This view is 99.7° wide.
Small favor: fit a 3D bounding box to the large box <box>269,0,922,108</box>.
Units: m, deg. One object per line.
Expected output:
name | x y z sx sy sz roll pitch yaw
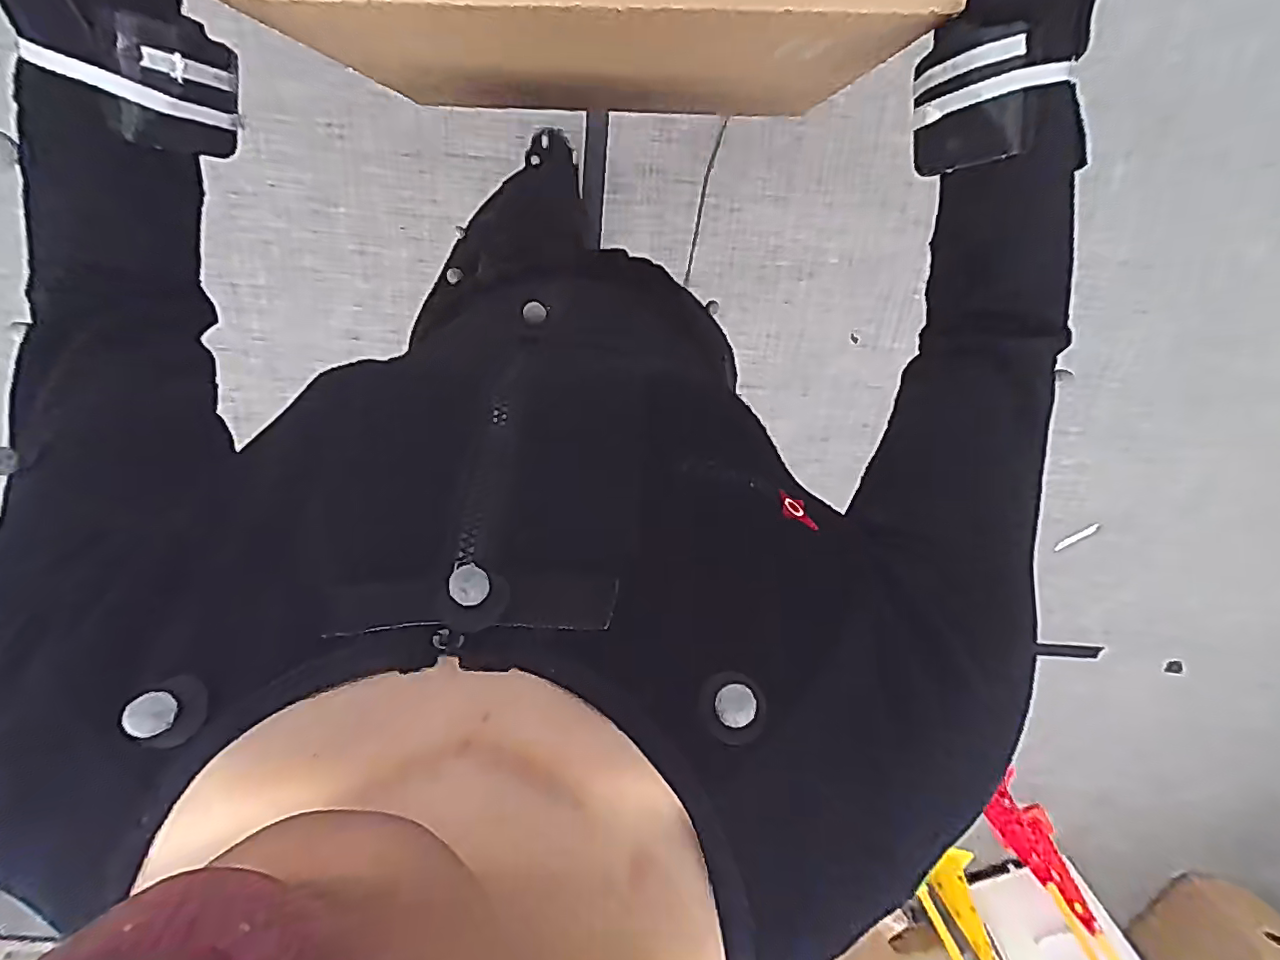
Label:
large box | -0.026 -0.471 0.369 0.408 0.320 0.320 0 116 -1
